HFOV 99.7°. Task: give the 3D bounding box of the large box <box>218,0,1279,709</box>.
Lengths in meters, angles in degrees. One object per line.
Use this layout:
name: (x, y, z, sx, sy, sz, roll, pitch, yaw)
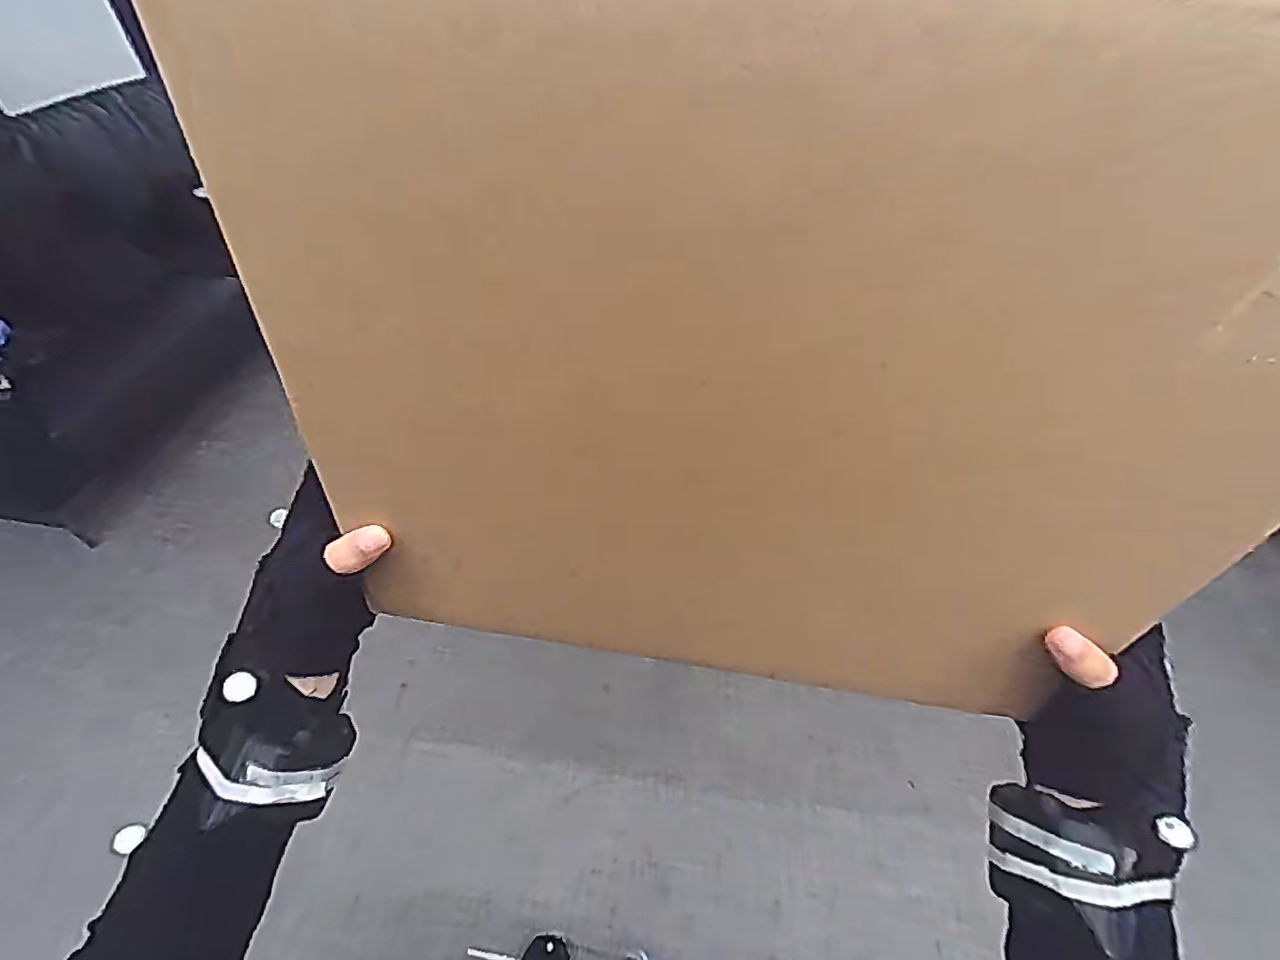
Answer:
large box: (0.075, -0.098, 0.341, 0.408, 0.320, 0.320, 10, 41, 0)
